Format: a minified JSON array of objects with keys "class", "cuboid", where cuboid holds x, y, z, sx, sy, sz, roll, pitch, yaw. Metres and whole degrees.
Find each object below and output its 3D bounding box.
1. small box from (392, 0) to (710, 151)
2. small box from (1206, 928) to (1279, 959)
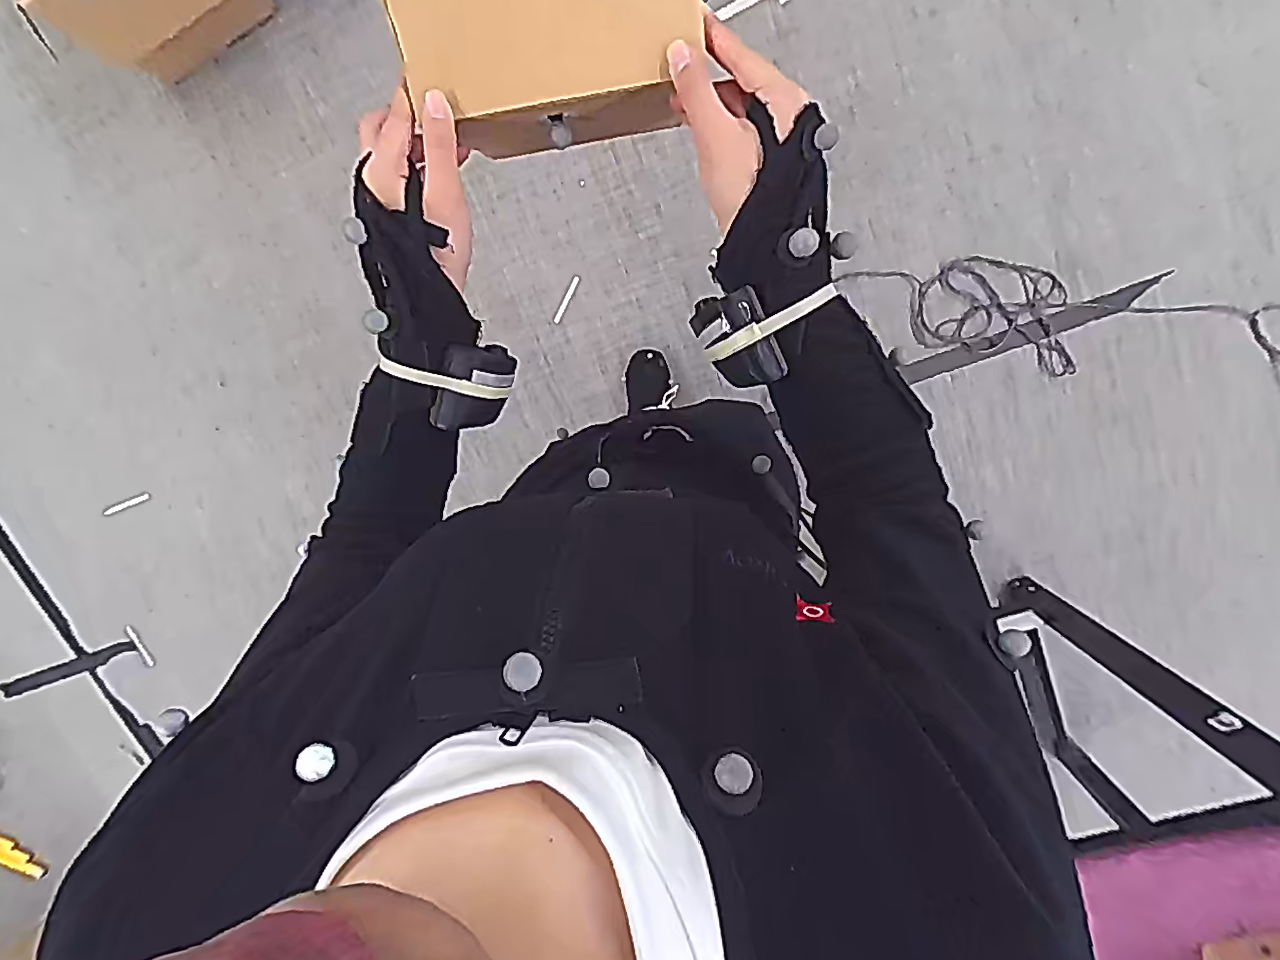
[{"class":"small box","cuboid":[-0.054,-0.332,0.357,0.179,0.176,0.168,-7,114,5]},{"class":"small box","cuboid":[0.867,0.708,0.672,0.168,0.176,0.179,-13,102,6]}]
